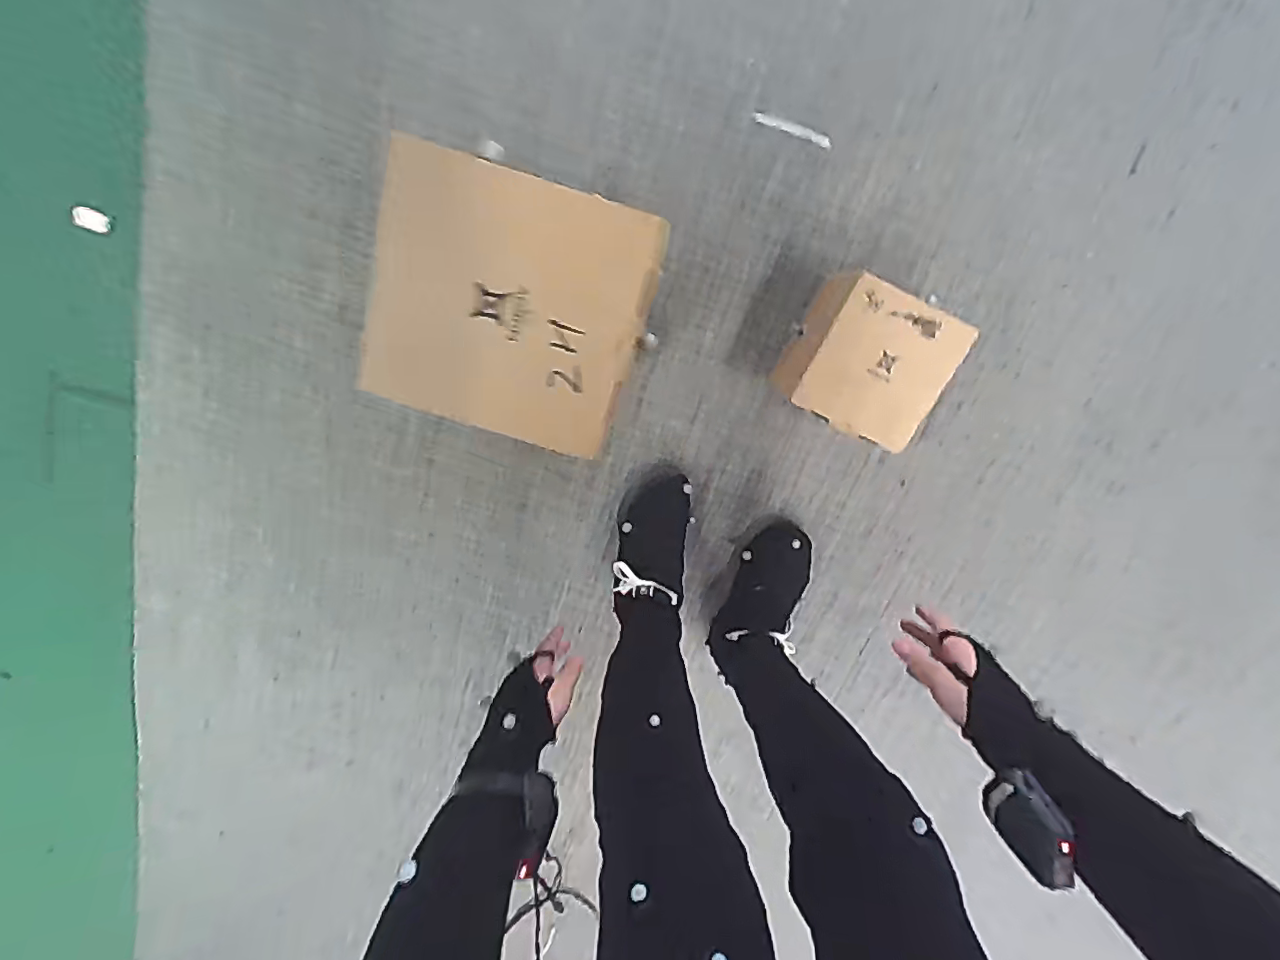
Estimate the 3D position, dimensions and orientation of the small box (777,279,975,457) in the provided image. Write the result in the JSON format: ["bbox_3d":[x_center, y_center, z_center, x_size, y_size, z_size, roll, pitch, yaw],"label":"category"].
[{"bbox_3d":[0.309,-0.161,0.758,0.168,0.176,0.179,25,109,-6],"label":"small box"}]

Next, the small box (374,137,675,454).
[{"bbox_3d":[-0.080,-0.140,0.440,0.179,0.176,0.168,17,108,-3],"label":"small box"}]
